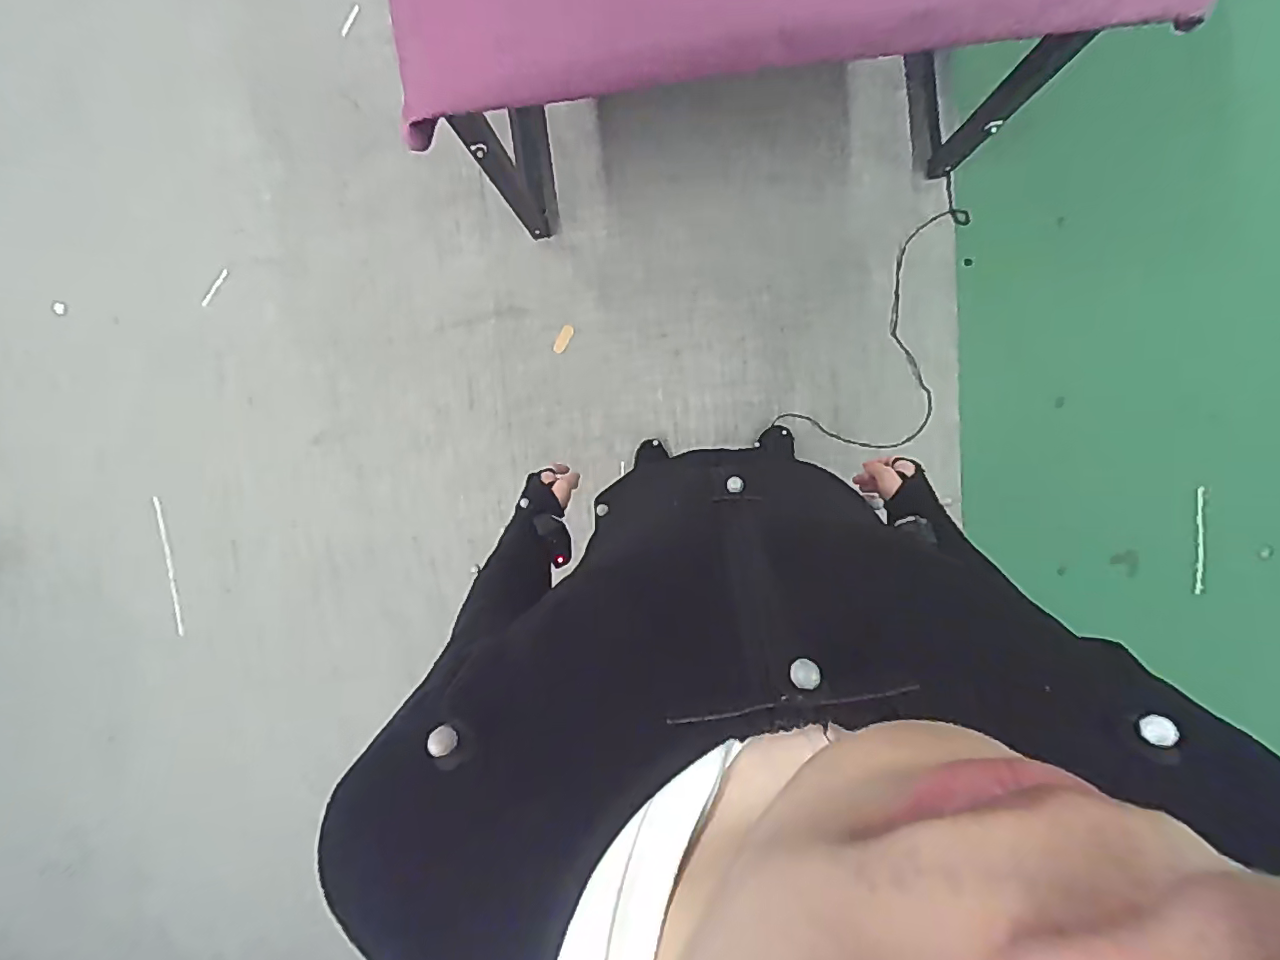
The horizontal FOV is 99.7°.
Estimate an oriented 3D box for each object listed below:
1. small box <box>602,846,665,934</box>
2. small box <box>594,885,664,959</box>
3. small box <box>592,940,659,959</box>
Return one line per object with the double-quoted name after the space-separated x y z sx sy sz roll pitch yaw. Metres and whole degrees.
-0.017 1.261 1.661 0.179 0.176 0.168 -4 95 3 "small box"
-0.026 1.268 1.500 0.179 0.176 0.168 -5 94 2 "small box"
-0.036 1.286 1.337 0.179 0.176 0.168 -4 94 3 "small box"
